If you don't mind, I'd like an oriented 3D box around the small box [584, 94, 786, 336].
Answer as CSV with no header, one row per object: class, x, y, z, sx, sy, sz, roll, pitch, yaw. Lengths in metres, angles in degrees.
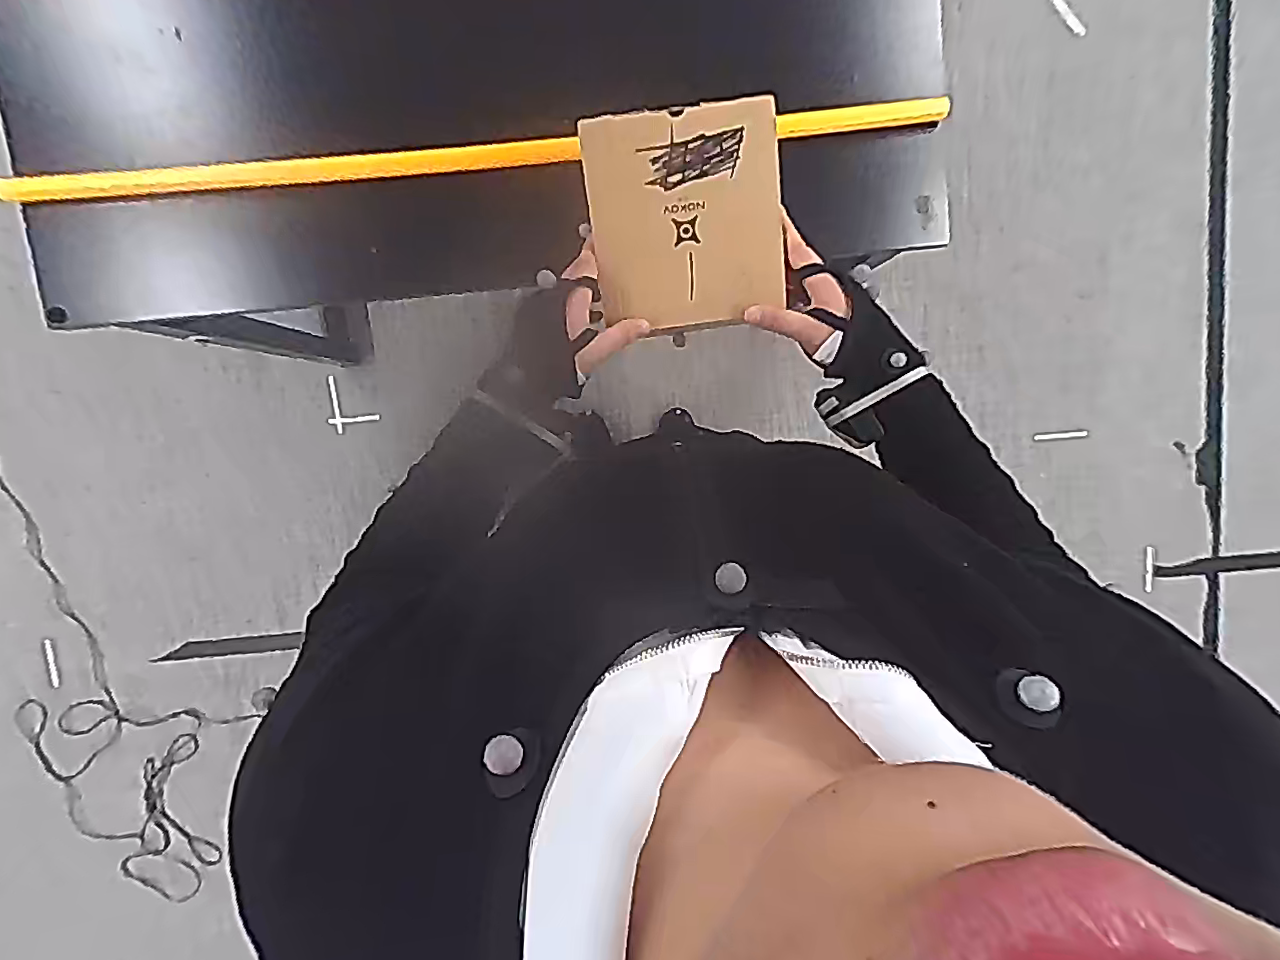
small box,0.039,-0.247,0.547,0.168,0.176,0.179,-7,103,1
